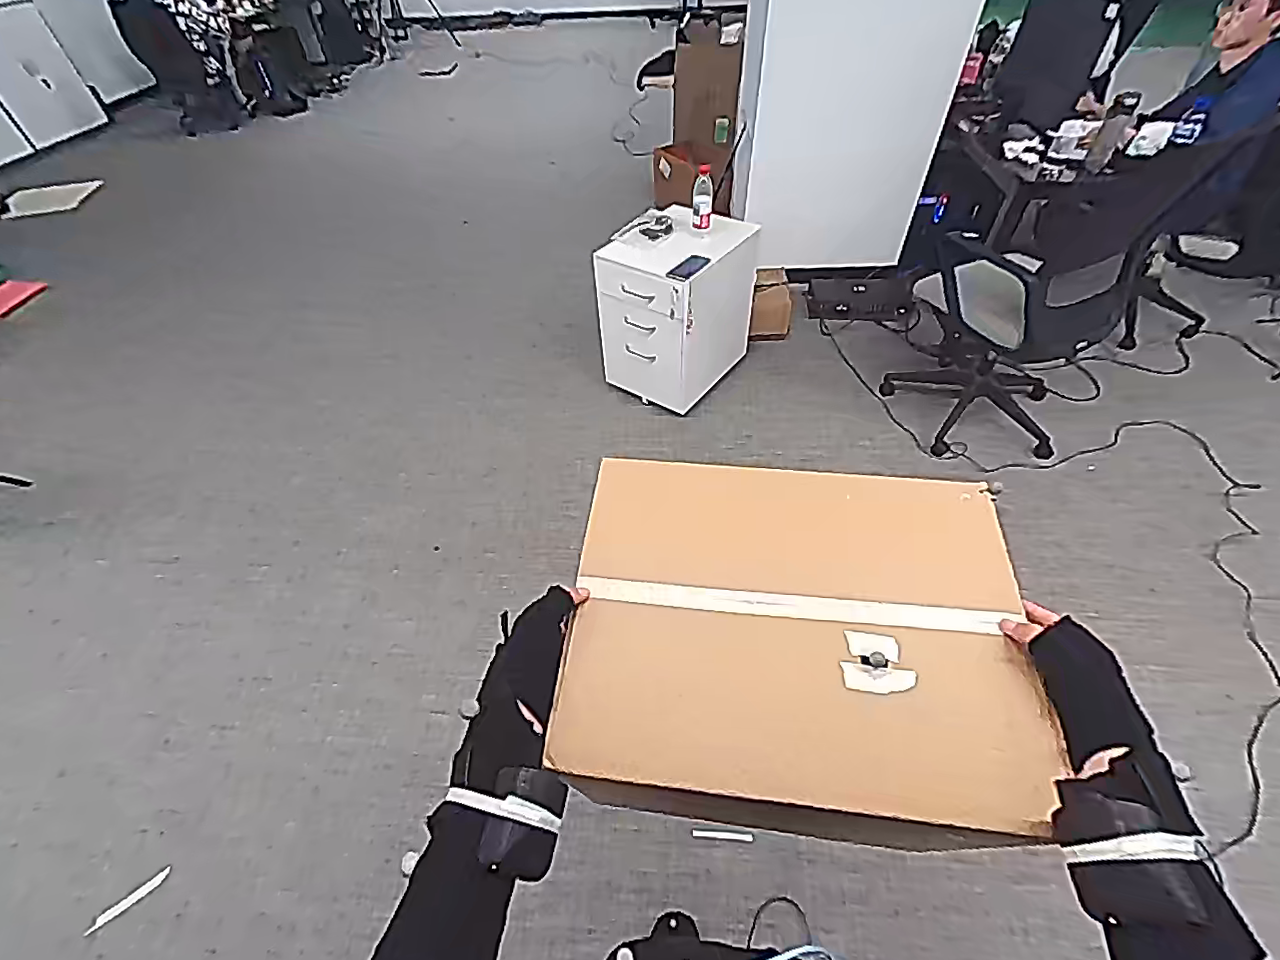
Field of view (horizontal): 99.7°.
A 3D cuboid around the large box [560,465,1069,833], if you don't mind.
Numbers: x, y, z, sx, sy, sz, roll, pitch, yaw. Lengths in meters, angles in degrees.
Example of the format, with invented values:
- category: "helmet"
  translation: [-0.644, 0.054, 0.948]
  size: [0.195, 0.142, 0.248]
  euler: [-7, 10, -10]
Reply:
- category: "large box"
  translation: [0.149, 0.204, 0.629]
  size: [0.408, 0.320, 0.320]
  euler: [4, 57, 6]
